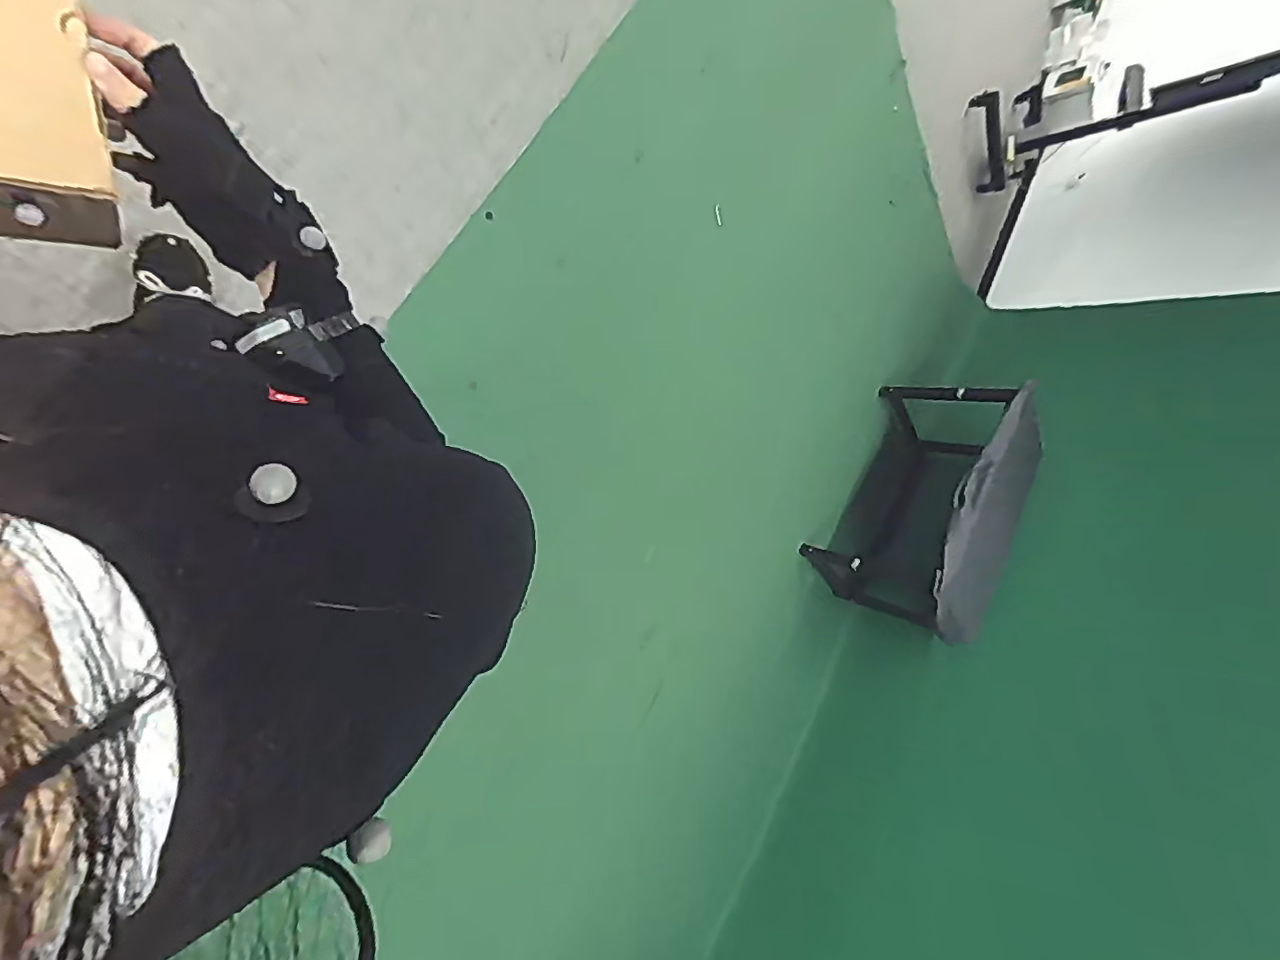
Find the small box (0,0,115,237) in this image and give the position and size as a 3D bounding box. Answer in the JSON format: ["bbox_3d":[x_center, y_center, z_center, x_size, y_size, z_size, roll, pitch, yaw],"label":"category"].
[{"bbox_3d":[-0.419,-0.242,0.291,0.179,0.176,0.168,-12,106,-42],"label":"small box"}]
